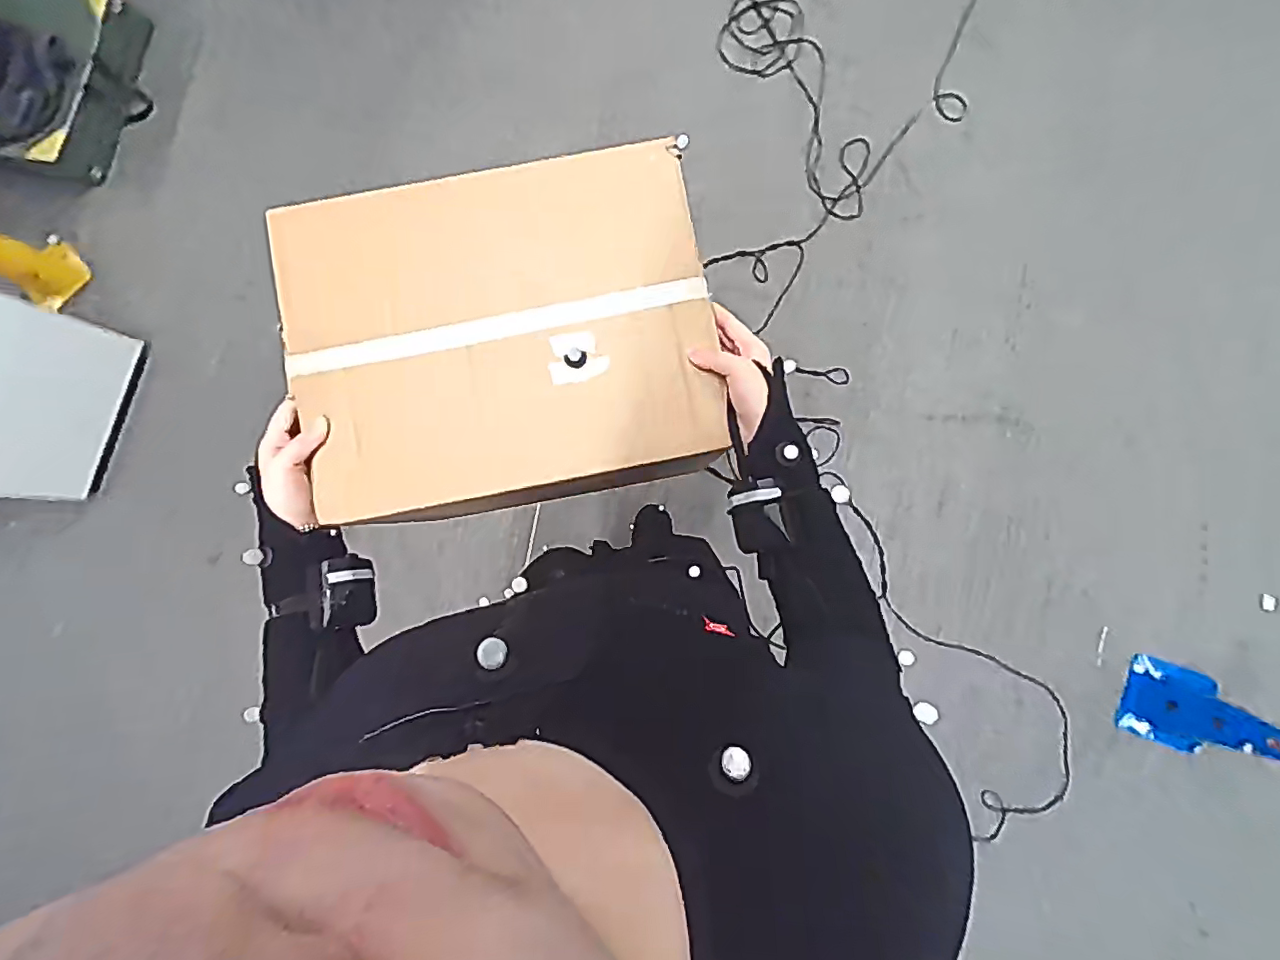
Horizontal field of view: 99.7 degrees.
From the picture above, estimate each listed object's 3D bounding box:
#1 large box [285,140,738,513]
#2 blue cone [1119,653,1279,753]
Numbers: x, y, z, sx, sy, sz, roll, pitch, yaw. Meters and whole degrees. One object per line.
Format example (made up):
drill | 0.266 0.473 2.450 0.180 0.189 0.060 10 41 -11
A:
large box | -0.131 -0.146 0.675 0.408 0.320 0.320 -11 88 -3
blue cone | 1.305 0.532 1.197 0.192 0.380 0.193 21 87 6
